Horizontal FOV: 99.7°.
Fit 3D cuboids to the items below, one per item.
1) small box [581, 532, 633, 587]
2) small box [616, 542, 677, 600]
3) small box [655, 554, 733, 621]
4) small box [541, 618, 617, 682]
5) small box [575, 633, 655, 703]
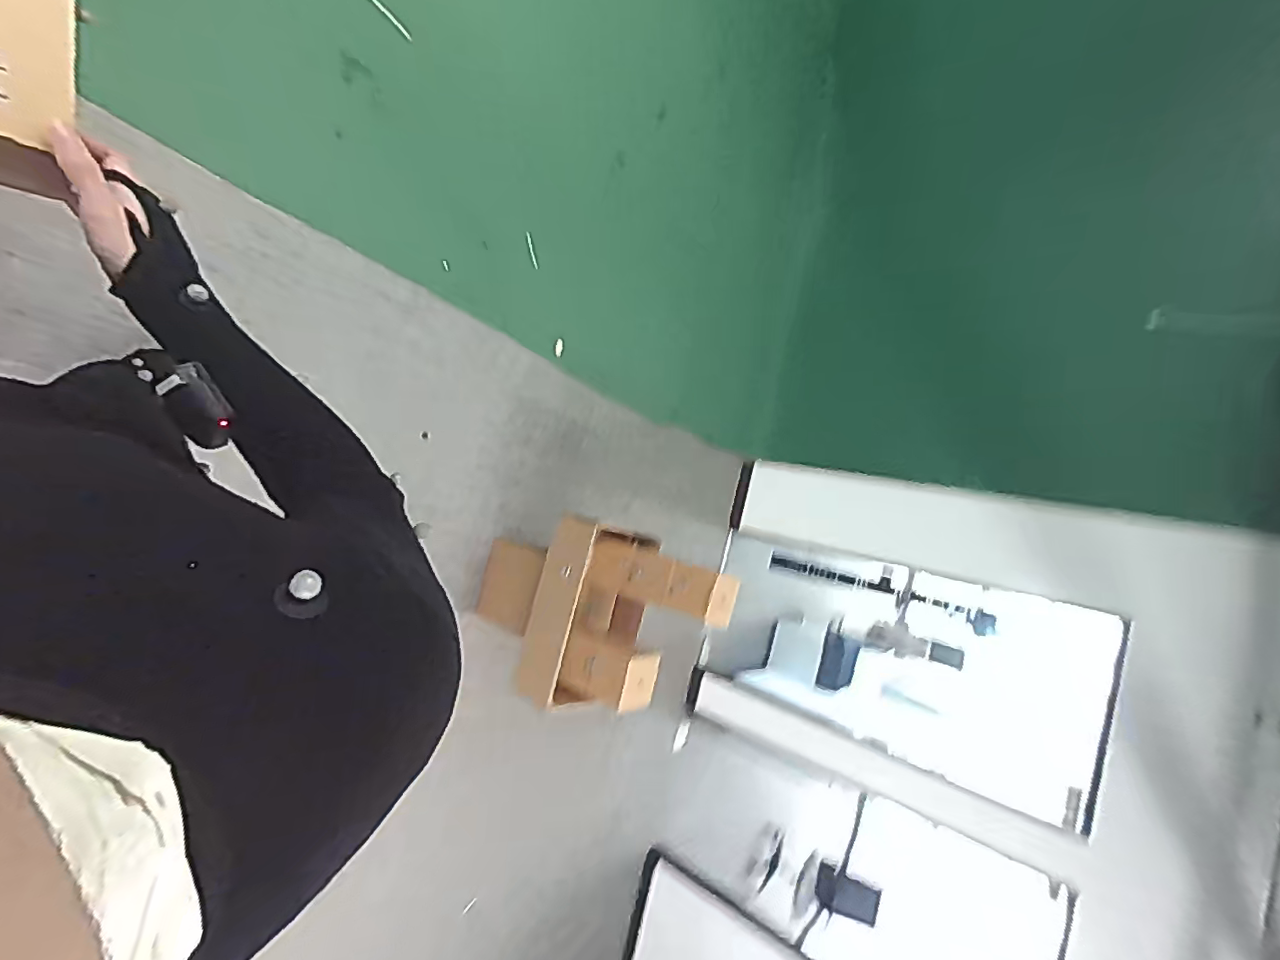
[{"bbox_3d":[-0.081,0.292,1.955,0.179,0.176,0.168,24,80,-54],"label":"small box"},{"bbox_3d":[0.049,0.320,1.859,0.179,0.176,0.168,27,76,-53],"label":"small box"},{"bbox_3d":[0.177,0.349,1.764,0.179,0.176,0.168,29,76,-52],"label":"small box"},{"bbox_3d":[-0.210,0.578,1.855,0.179,0.176,0.168,21,83,-55],"label":"small box"},{"bbox_3d":[-0.081,0.603,1.758,0.179,0.176,0.168,19,83,-54],"label":"small box"}]
